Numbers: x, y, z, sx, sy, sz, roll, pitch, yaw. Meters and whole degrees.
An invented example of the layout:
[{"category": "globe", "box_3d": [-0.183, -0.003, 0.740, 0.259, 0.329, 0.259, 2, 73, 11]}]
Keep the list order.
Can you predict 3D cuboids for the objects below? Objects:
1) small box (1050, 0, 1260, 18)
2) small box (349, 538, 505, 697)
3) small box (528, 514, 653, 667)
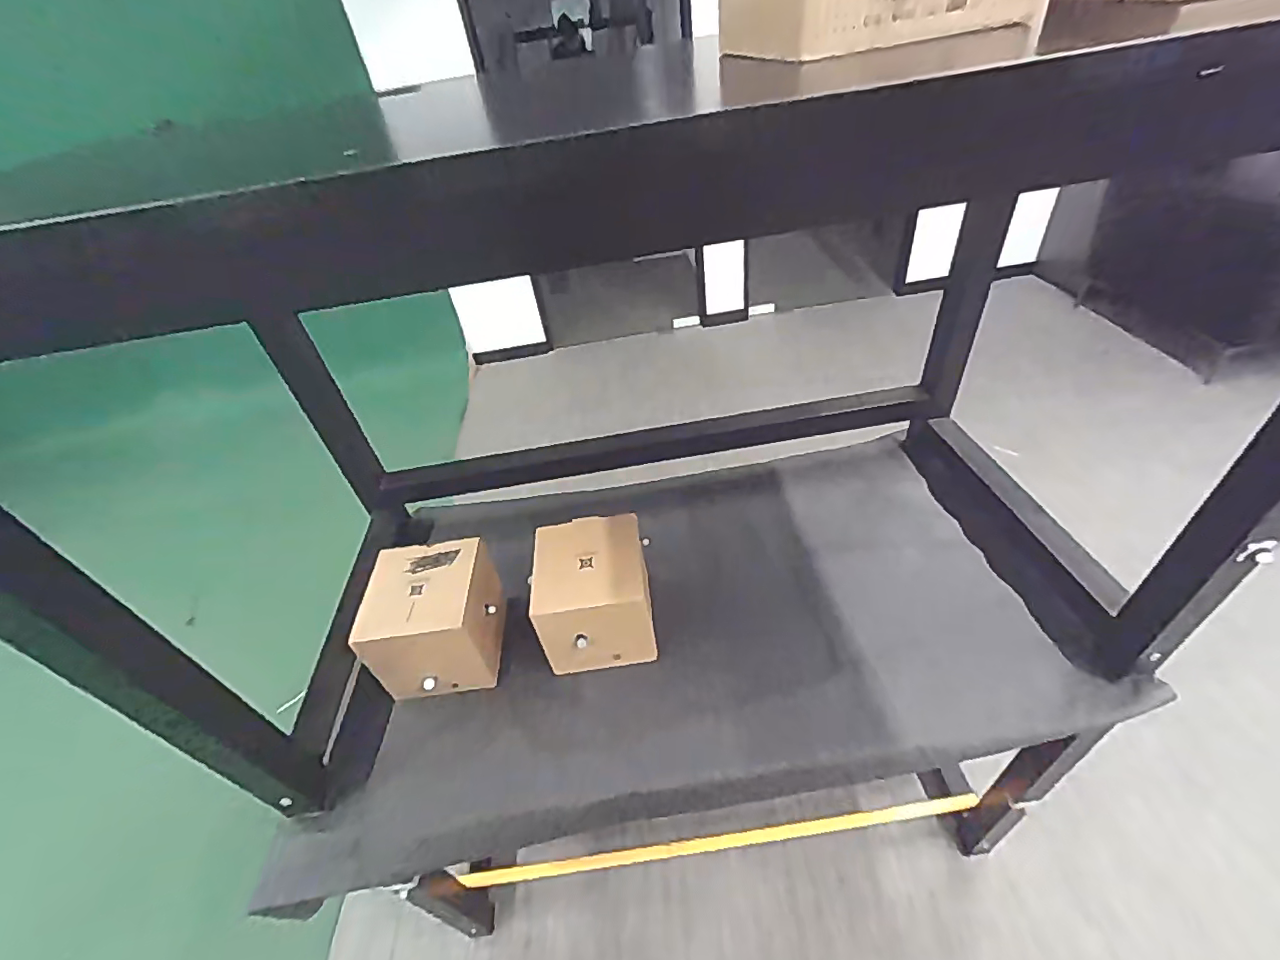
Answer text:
[{"category": "small box", "box_3d": [0.404, -0.406, 0.332, 0.168, 0.176, 0.179, -2, 41, 8]}, {"category": "small box", "box_3d": [-0.324, 0.220, 0.869, 0.168, 0.176, 0.179, -9, 41, 1]}, {"category": "small box", "box_3d": [-0.074, 0.183, 0.869, 0.168, 0.176, 0.179, -9, 40, 1]}]
